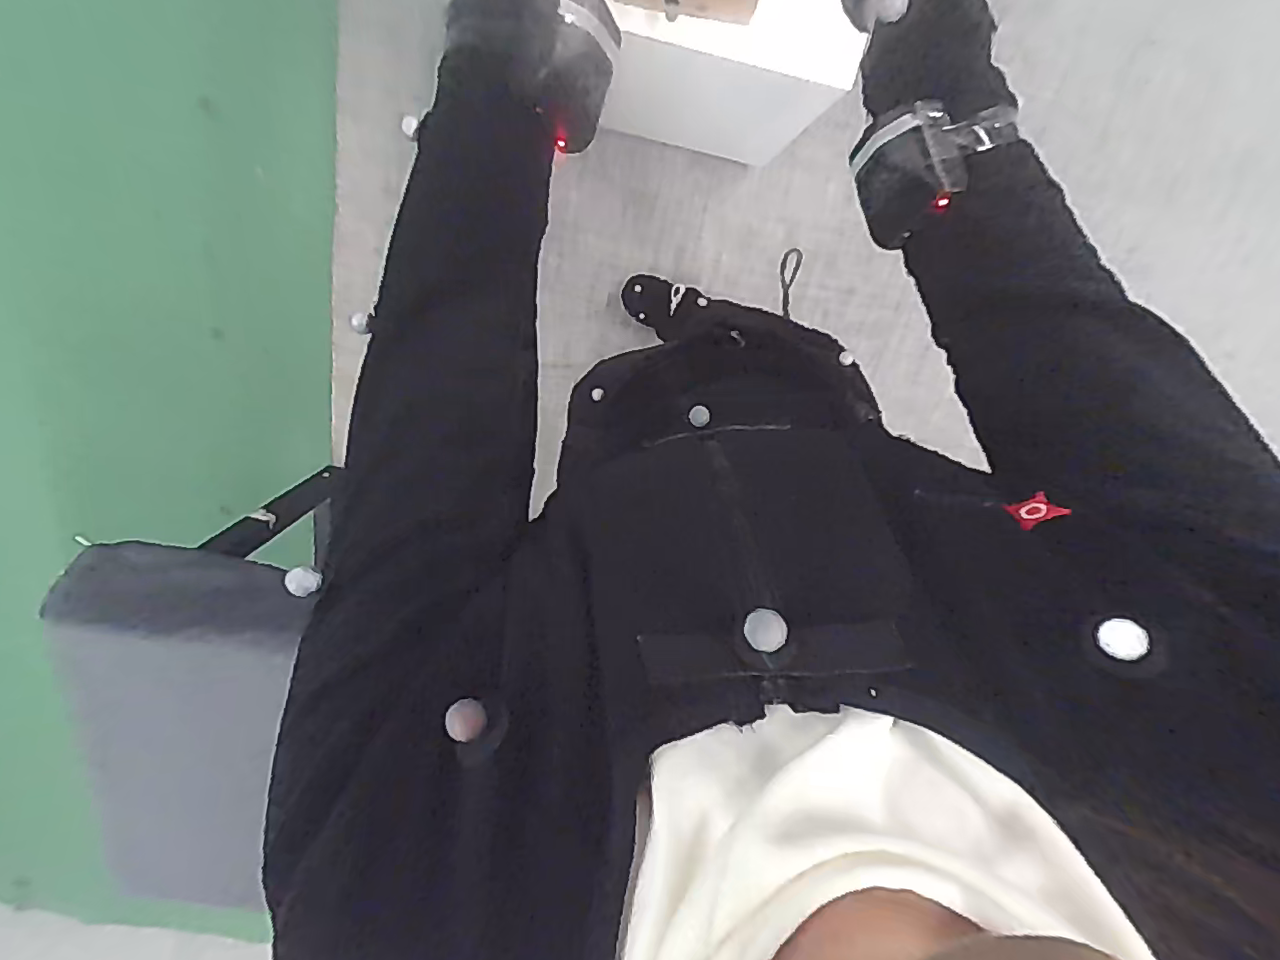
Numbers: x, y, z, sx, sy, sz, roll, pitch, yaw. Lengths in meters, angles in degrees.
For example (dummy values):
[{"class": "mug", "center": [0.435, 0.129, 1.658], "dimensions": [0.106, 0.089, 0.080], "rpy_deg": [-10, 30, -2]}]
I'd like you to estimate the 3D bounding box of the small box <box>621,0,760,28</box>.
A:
[{"class": "small box", "center": [0.057, -0.587, 0.522], "dimensions": [0.168, 0.176, 0.179], "rpy_deg": [8, 112, 0]}]
